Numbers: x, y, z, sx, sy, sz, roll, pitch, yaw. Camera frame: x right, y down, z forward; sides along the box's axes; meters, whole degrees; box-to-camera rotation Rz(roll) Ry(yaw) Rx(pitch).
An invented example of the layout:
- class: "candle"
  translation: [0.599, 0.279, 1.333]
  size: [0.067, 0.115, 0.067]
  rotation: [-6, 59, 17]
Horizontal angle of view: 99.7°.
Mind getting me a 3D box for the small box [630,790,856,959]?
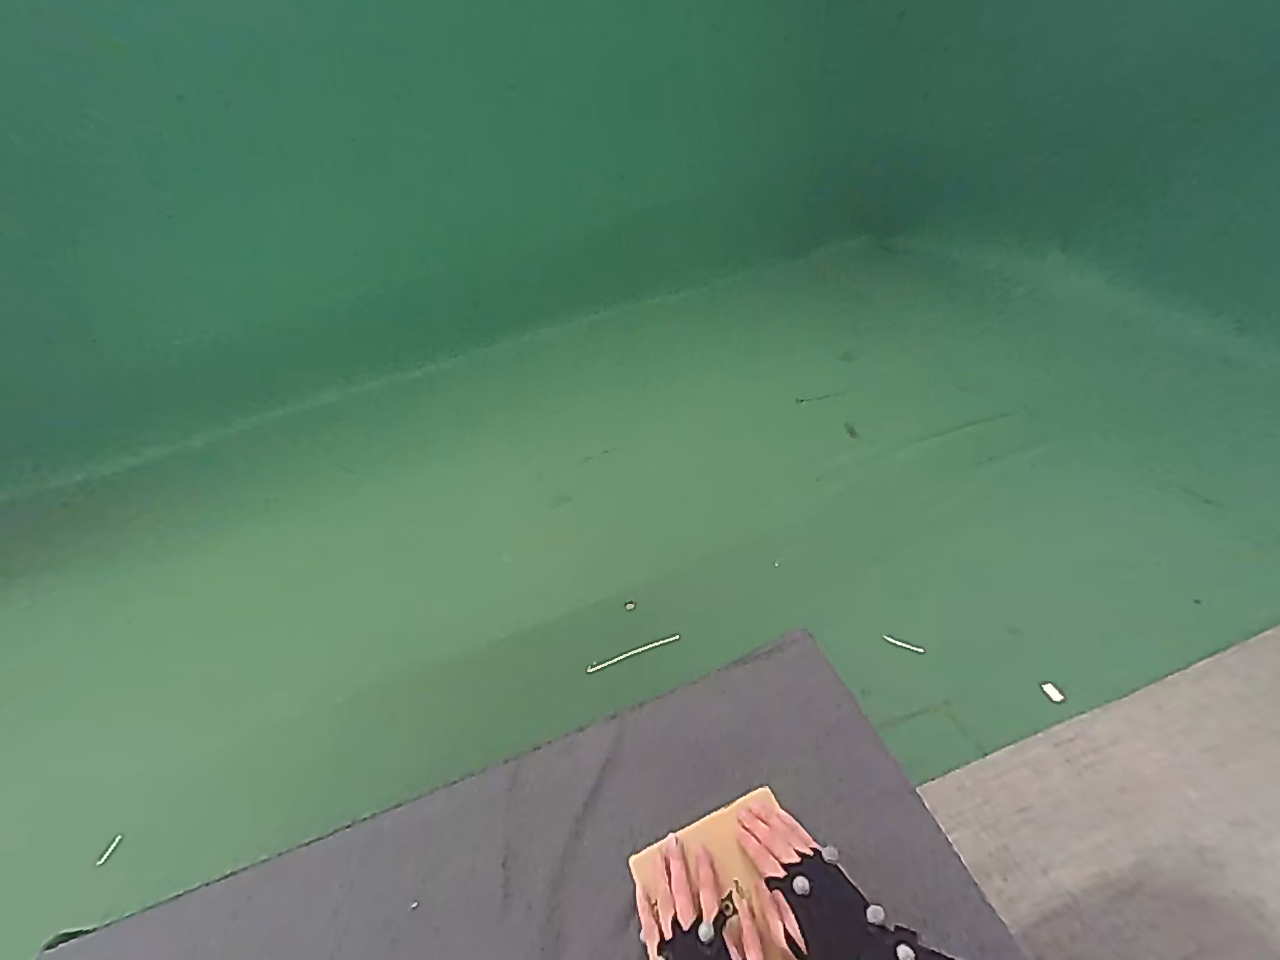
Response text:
- class: "small box"
  translation: [0.109, 0.492, 0.605]
  size: [0.179, 0.176, 0.168]
  rotation: [-24, 44, -11]
